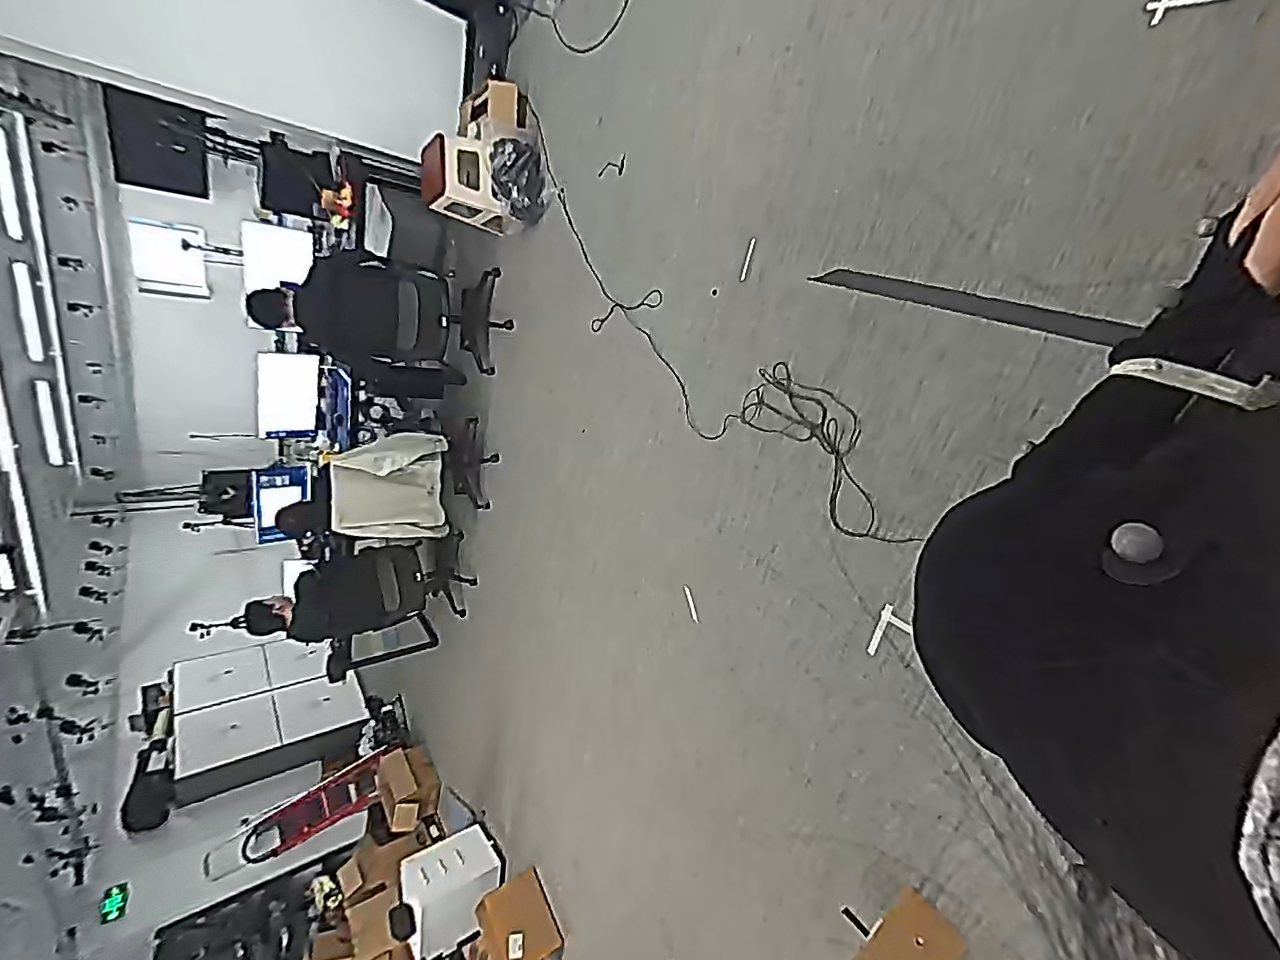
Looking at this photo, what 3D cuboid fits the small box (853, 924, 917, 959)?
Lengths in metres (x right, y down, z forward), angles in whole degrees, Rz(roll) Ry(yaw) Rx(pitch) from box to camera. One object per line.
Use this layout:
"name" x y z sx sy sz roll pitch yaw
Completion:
"small box" 0.639 1.317 1.398 0.179 0.176 0.168 37 120 41

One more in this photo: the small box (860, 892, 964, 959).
"small box" 0.759 1.304 1.510 0.179 0.176 0.168 34 119 42
